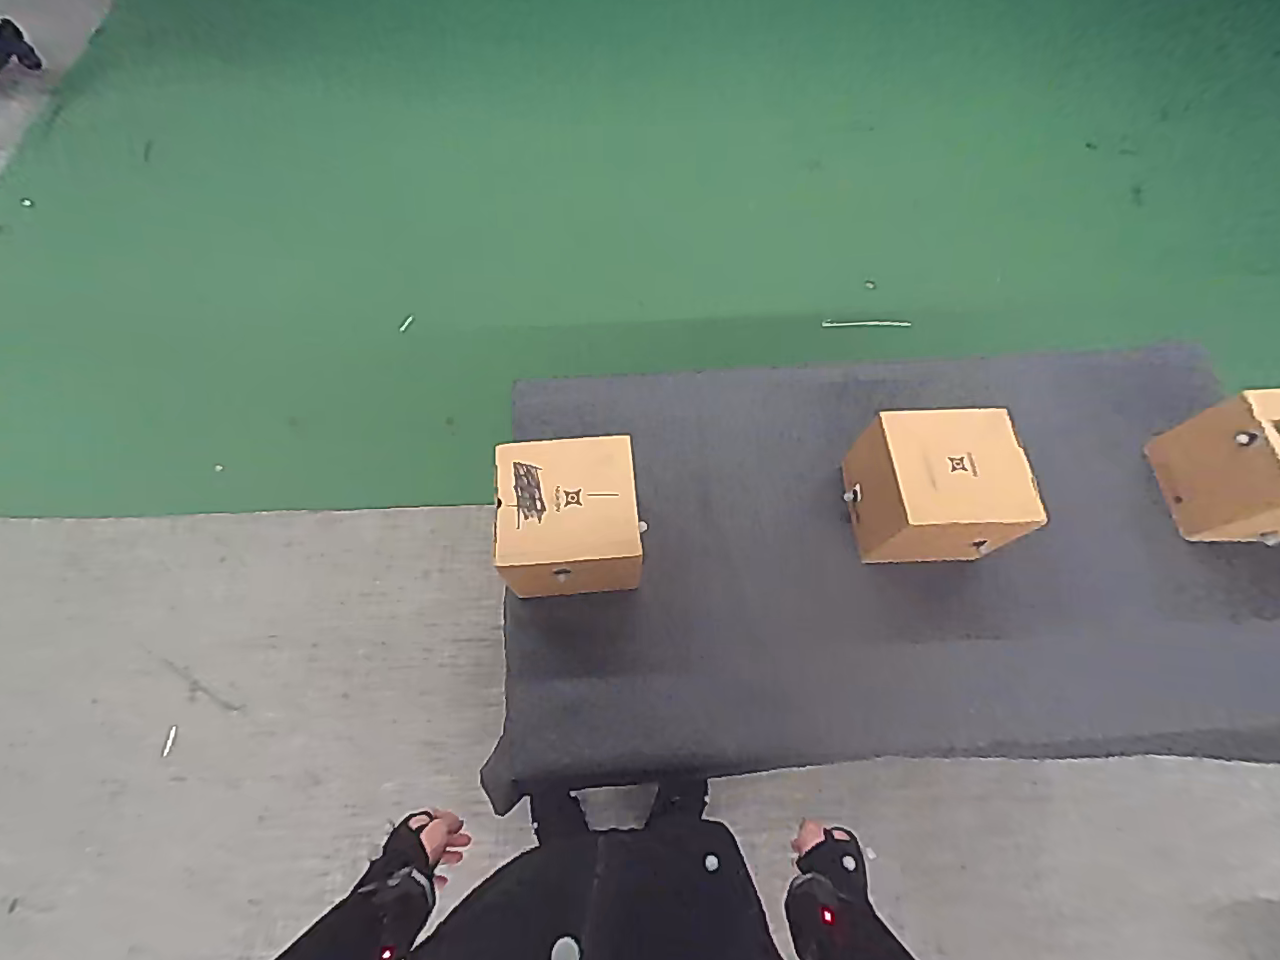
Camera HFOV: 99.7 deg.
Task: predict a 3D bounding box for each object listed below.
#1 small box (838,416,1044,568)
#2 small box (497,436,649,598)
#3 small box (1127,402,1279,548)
[{"bbox_3d":[0.412,0.023,0.775,0.179,0.176,0.168,-2,63,-3],"label":"small box"},{"bbox_3d":[-0.087,0.056,0.723,0.179,0.176,0.168,-3,65,-7],"label":"small box"},{"bbox_3d":[0.910,0.000,0.814,0.179,0.176,0.168,1,65,-3],"label":"small box"}]
